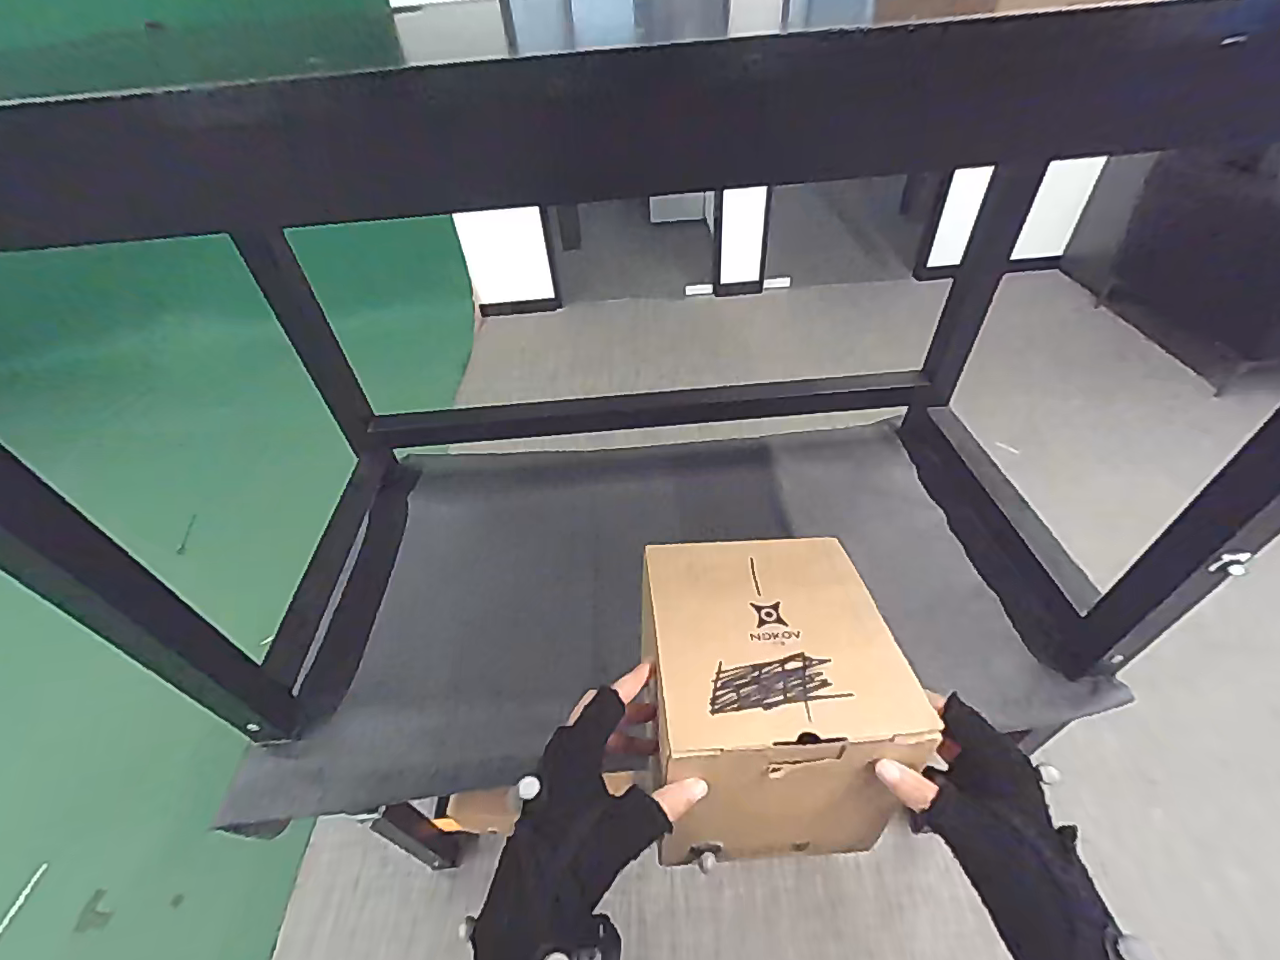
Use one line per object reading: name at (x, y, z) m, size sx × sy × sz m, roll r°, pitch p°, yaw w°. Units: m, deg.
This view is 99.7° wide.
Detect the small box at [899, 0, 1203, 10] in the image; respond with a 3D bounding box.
small box at (0.265, -0.393, 0.317) m, size 0.168 × 0.176 × 0.179 m, roll -5°, pitch 44°, yaw 0°
